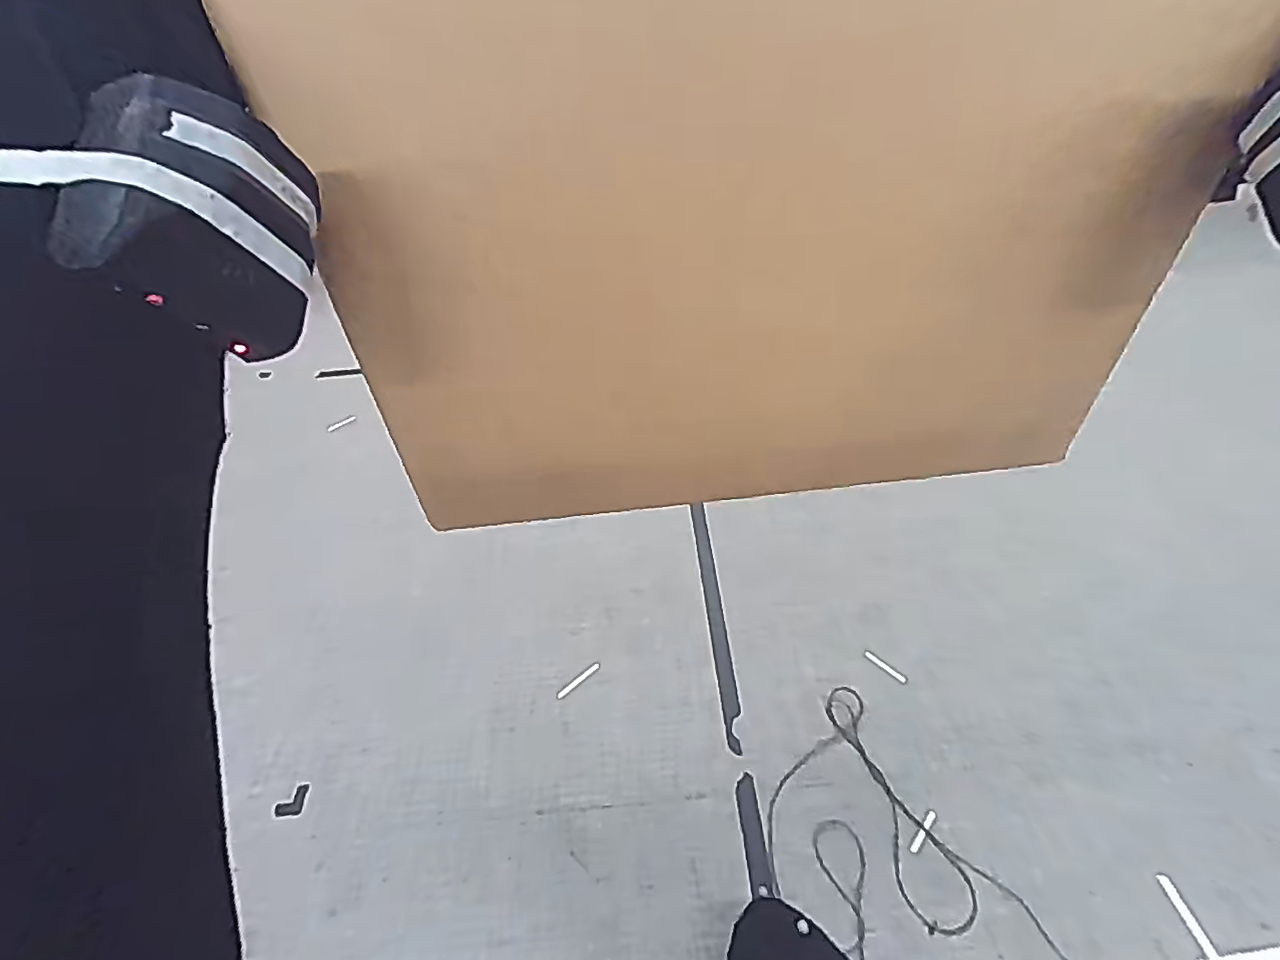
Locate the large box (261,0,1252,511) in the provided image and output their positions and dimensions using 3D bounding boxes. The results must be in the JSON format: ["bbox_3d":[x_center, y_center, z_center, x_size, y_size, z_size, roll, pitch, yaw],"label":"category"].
[{"bbox_3d":[0.046,-0.208,0.375,0.408,0.320,0.320,-6,40,-3],"label":"large box"}]
